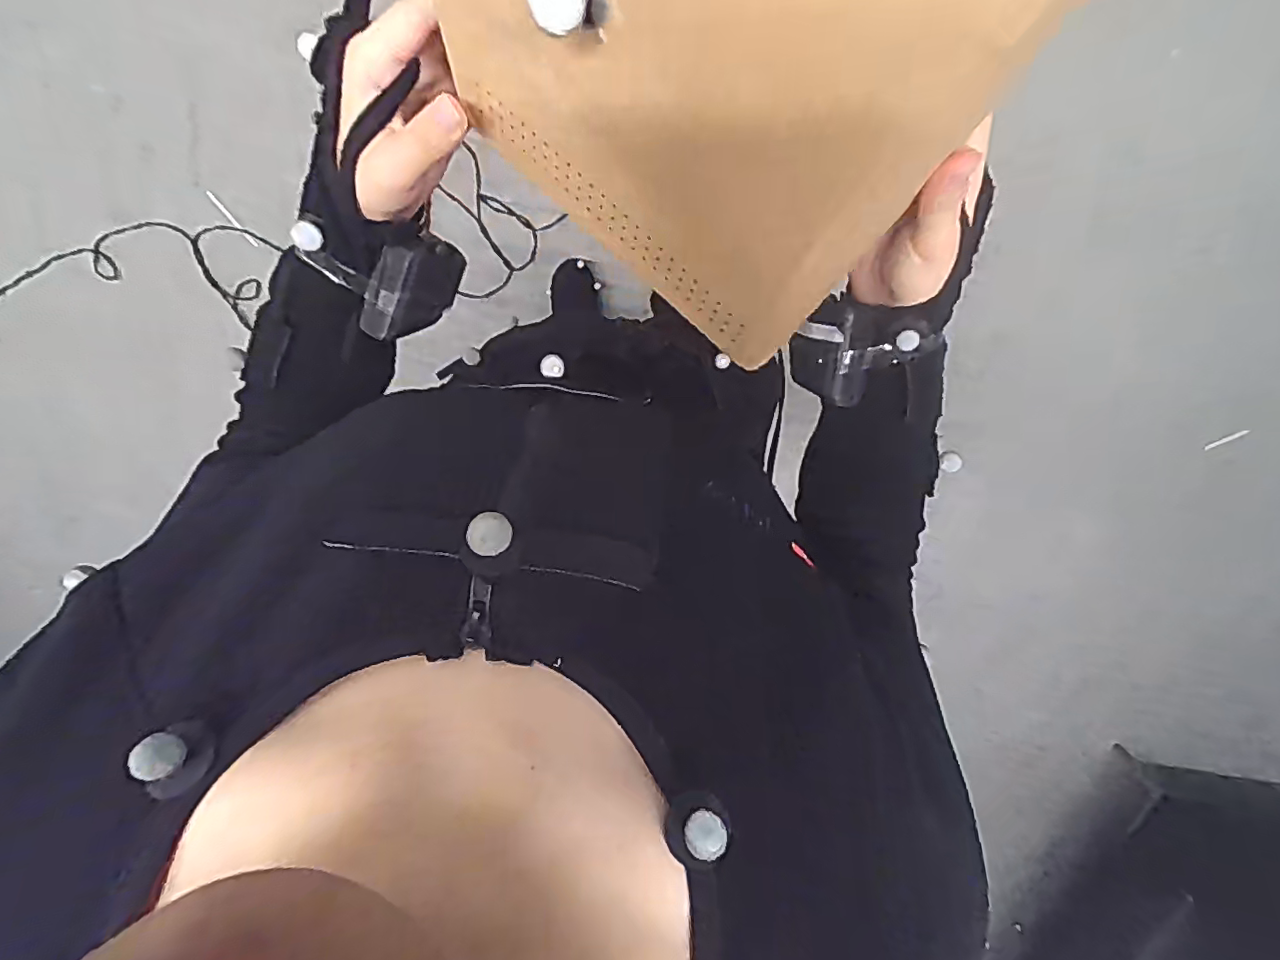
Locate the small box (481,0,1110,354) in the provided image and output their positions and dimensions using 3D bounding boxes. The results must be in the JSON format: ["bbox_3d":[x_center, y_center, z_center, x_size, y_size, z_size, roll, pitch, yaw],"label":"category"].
[{"bbox_3d":[0.054,-0.176,0.186,0.179,0.176,0.168,41,79,3],"label":"small box"}]
